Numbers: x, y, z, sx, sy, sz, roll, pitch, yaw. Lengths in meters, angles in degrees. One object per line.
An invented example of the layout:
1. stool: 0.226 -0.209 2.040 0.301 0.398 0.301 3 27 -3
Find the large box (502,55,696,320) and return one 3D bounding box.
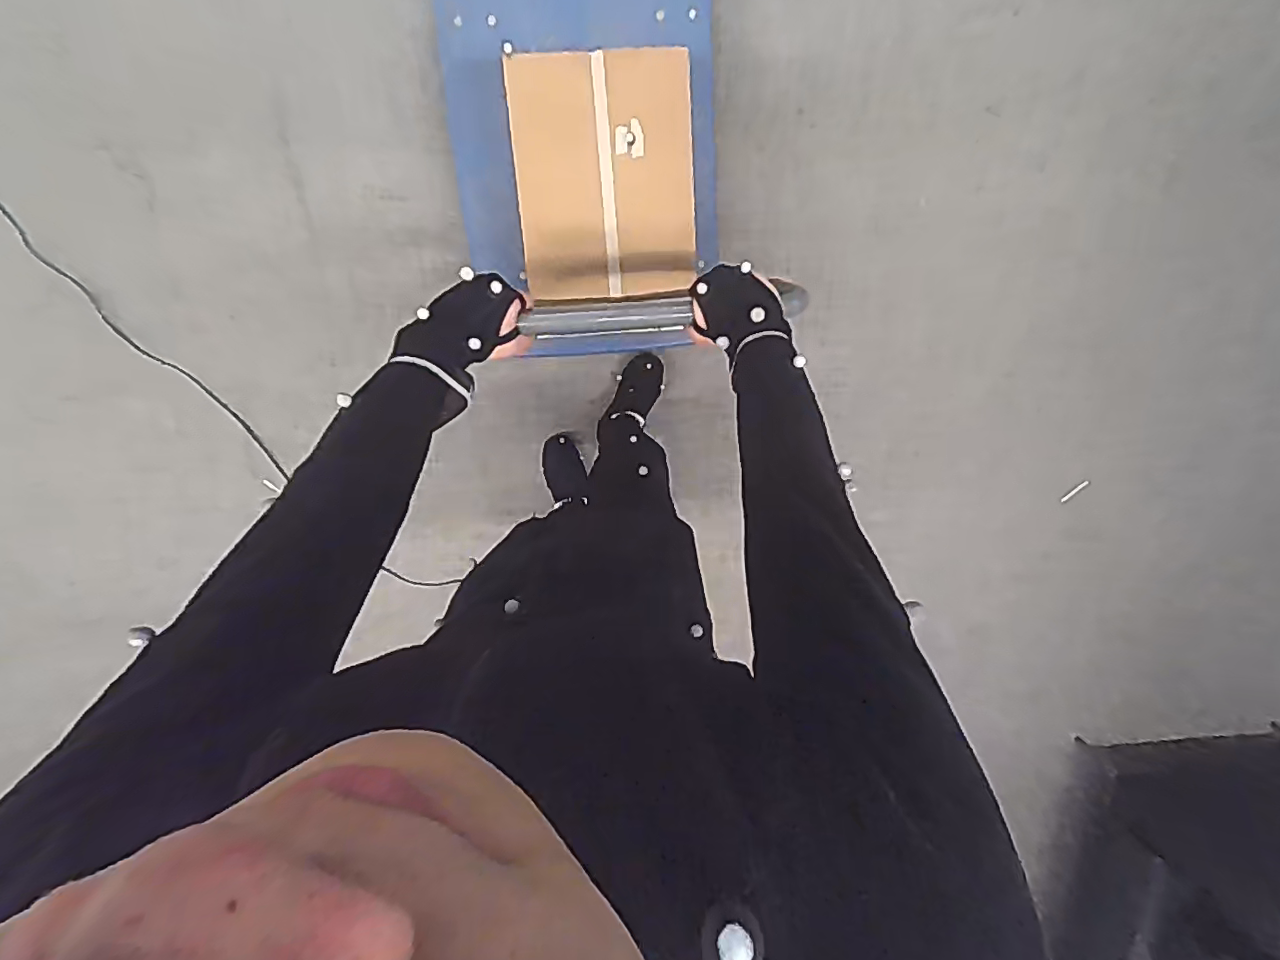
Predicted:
1. large box: -0.076 -0.554 1.105 0.320 0.320 0.408 -6 104 -5
